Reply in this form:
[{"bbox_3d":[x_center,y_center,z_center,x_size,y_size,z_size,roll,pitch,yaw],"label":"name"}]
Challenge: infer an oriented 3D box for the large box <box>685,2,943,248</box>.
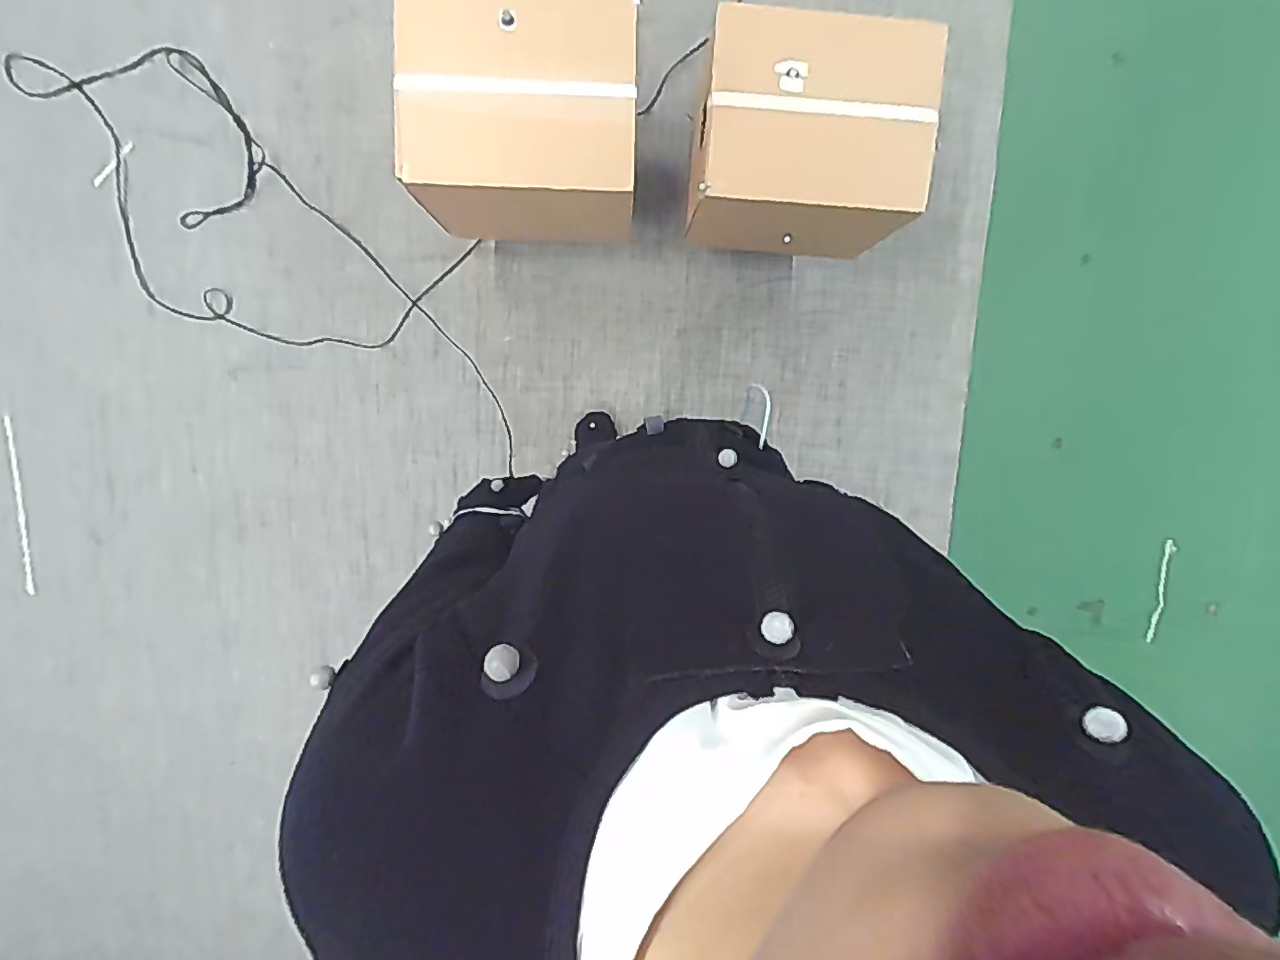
[{"bbox_3d":[0.318,-0.678,1.098,0.408,0.320,0.320,4,98,-2],"label":"large box"}]
